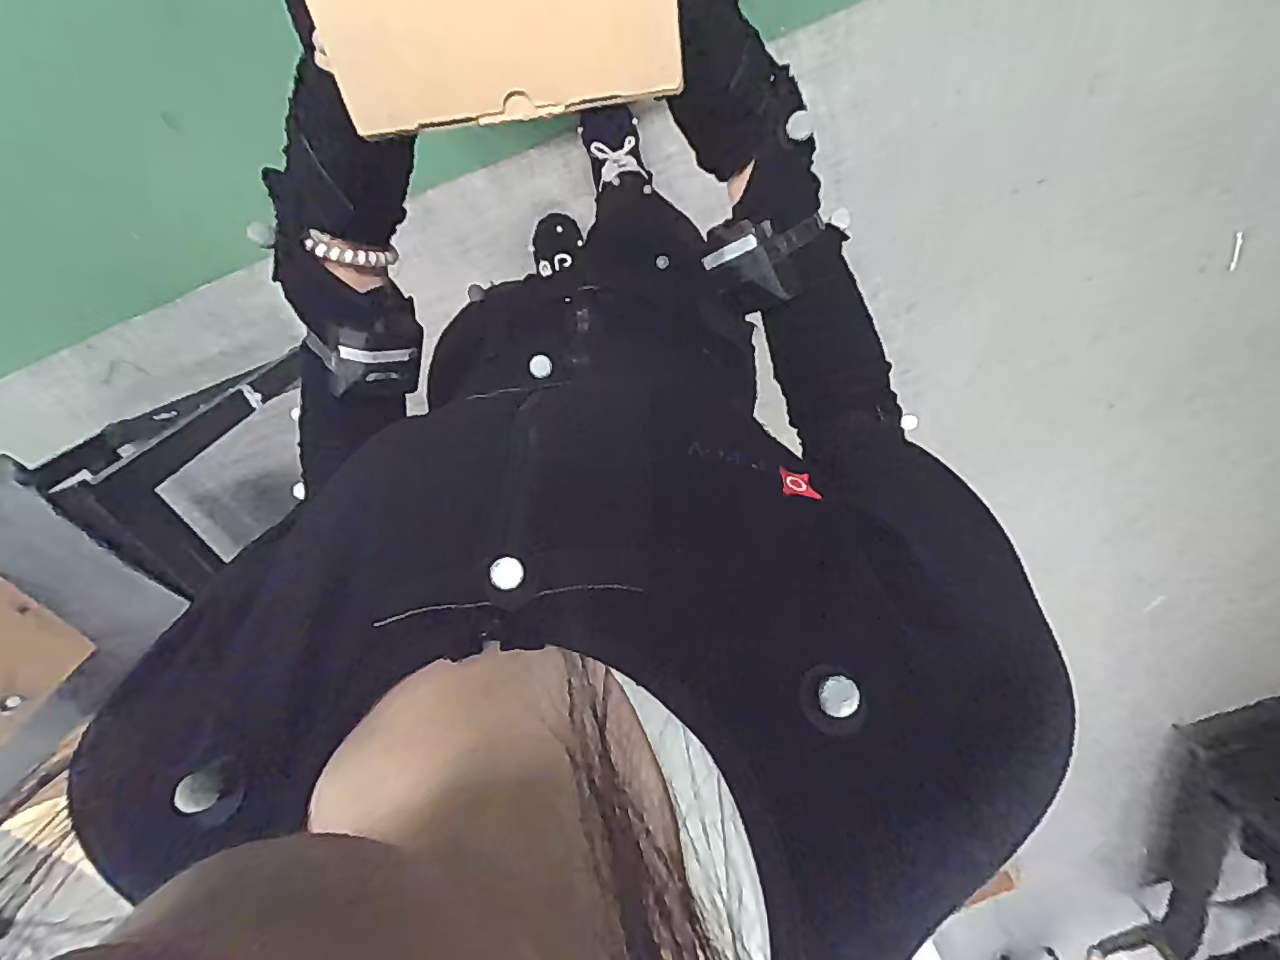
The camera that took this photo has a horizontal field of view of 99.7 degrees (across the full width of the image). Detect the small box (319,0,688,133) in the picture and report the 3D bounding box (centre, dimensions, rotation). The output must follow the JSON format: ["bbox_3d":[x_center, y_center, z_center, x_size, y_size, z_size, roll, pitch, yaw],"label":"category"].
[{"bbox_3d":[-0.074,-0.302,0.277,0.168,0.176,0.179,-9,131,0],"label":"small box"}]

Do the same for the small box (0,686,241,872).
[{"bbox_3d":[-0.779,0.454,0.833,0.179,0.176,0.168,-21,121,5],"label":"small box"}]
